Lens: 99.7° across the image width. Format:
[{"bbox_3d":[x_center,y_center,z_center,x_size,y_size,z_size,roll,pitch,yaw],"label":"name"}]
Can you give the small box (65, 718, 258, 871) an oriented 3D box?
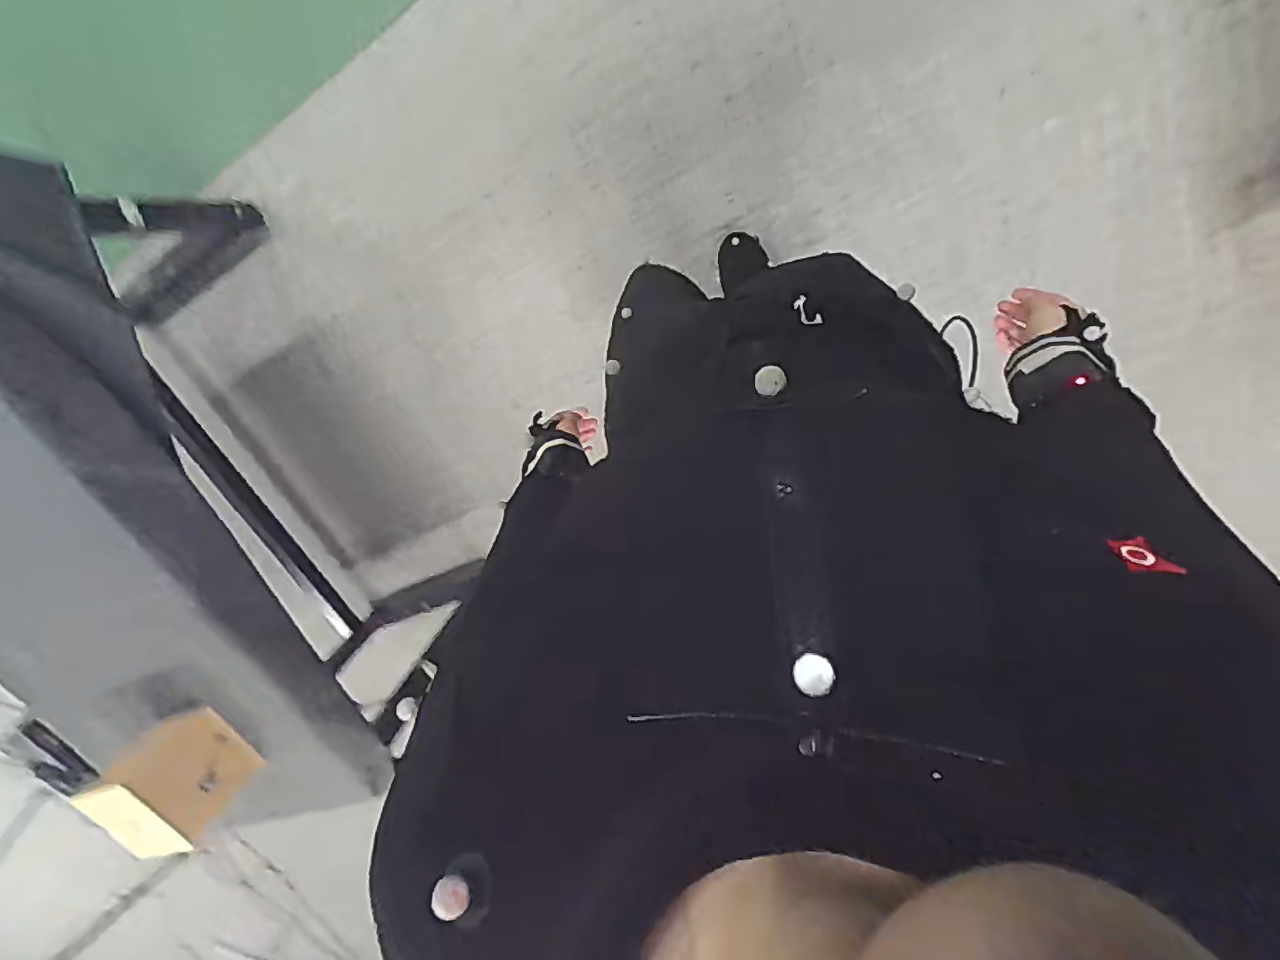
[{"bbox_3d":[-0.842,0.560,0.974,0.179,0.176,0.168,-24,109,21],"label":"small box"}]
